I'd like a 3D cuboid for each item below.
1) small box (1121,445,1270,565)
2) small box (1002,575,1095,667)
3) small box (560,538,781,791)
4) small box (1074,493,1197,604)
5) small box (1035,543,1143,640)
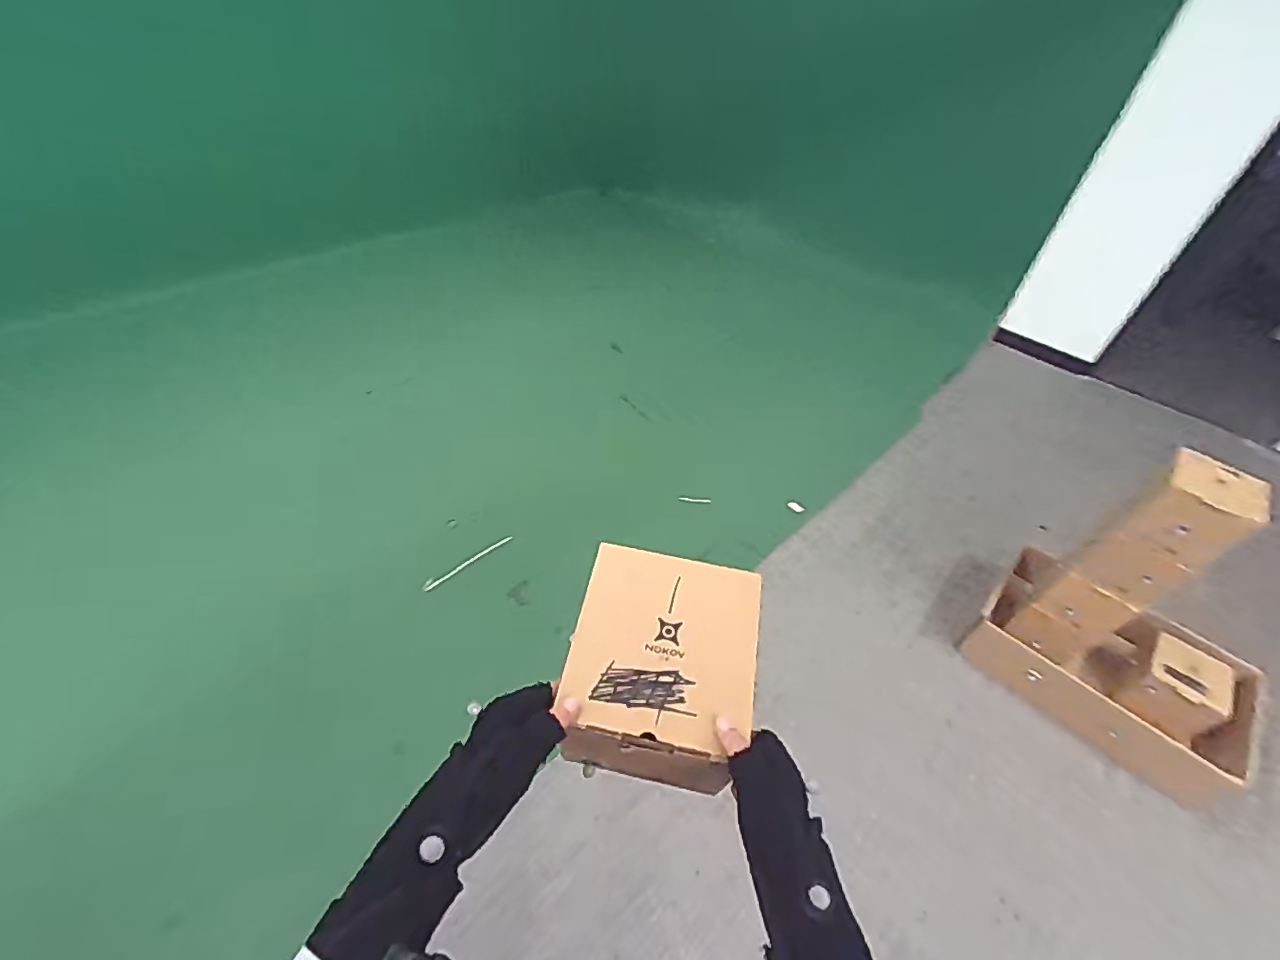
[{"bbox_3d":[1.241,0.059,1.218,0.168,0.176,0.179,37,54,24],"label":"small box"},{"bbox_3d":[1.196,0.401,1.566,0.179,0.176,0.168,-33,57,-31],"label":"small box"},{"bbox_3d":[0.030,0.191,0.544,0.168,0.176,0.179,15,54,5],"label":"small box"},{"bbox_3d":[1.225,0.172,1.336,0.168,0.176,0.179,36,53,24],"label":"small box"},{"bbox_3d":[1.210,0.288,1.450,0.168,0.176,0.179,37,54,26],"label":"small box"}]
